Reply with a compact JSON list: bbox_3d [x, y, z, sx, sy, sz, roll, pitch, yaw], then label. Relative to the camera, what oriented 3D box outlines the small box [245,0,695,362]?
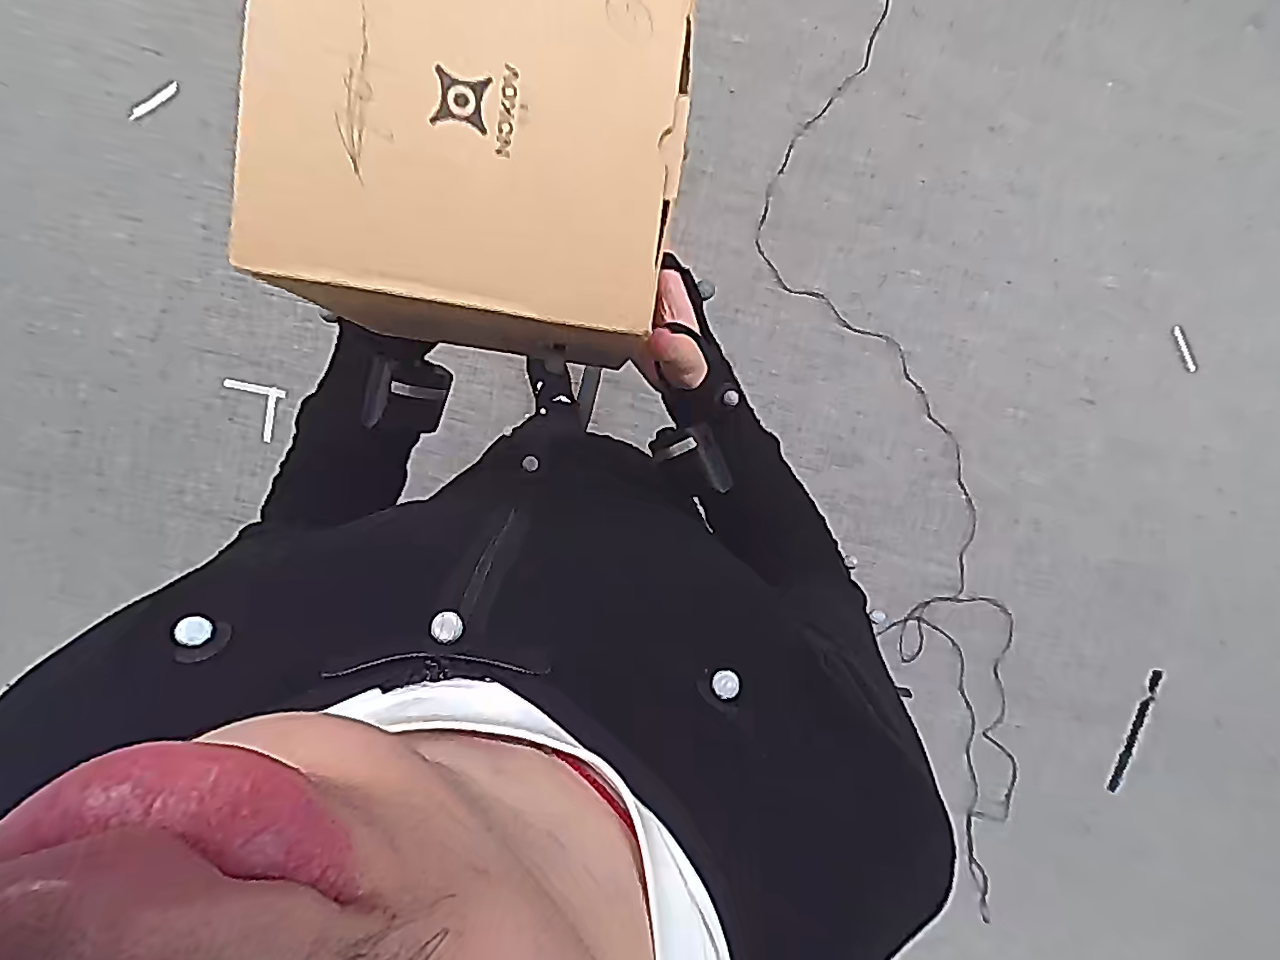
[{"bbox_3d":[-0.080,-0.169,0.313,0.179,0.176,0.168,8,94,-7],"label":"small box"}]
